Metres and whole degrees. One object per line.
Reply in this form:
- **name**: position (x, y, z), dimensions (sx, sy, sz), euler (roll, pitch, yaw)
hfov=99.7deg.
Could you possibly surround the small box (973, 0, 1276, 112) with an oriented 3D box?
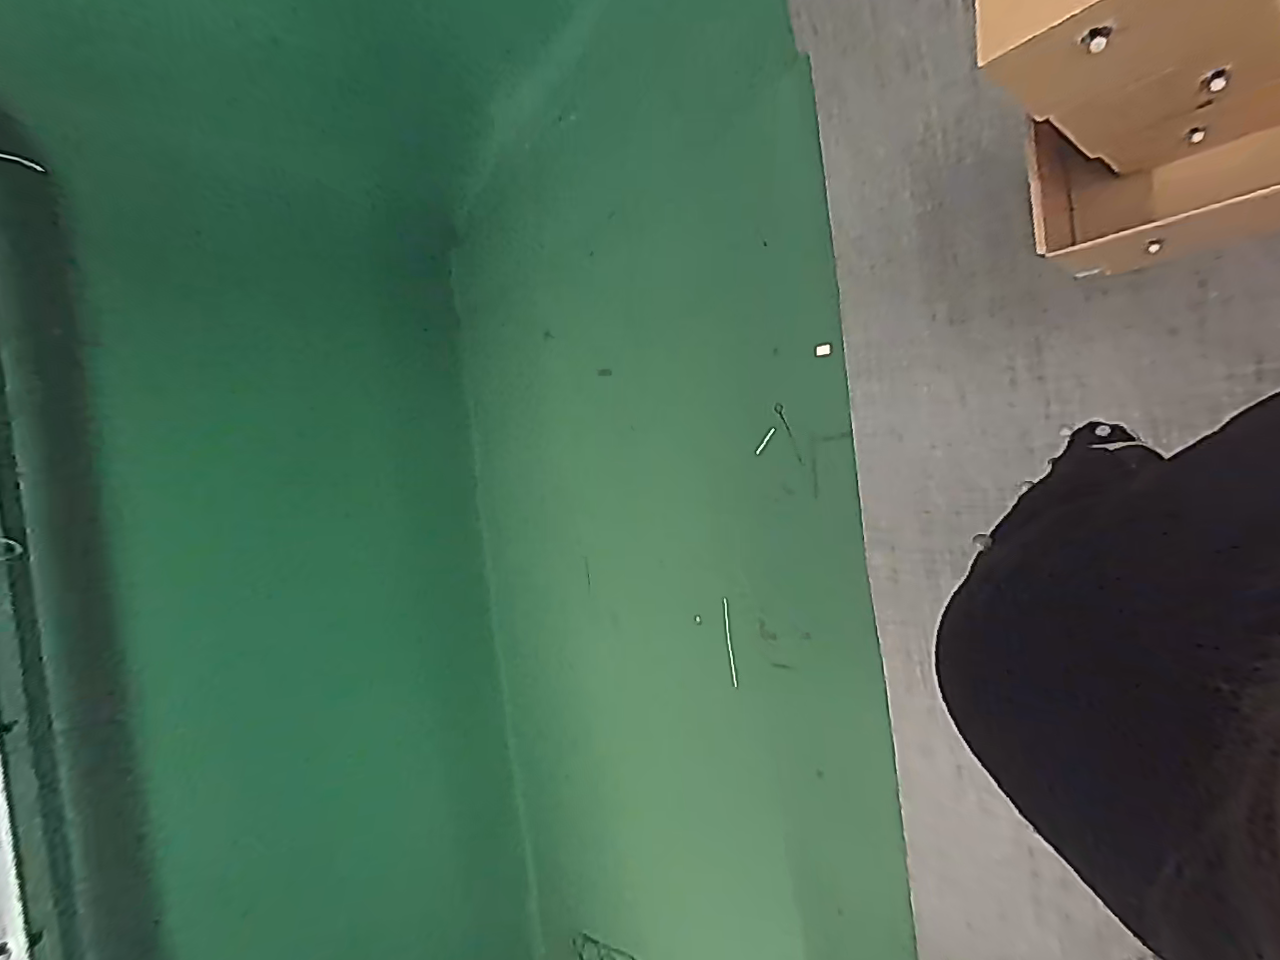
- **small box**: position (0.420, -0.465, 0.472), dimensions (0.179, 0.176, 0.168), euler (2, 99, 52)

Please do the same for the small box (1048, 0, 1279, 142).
- **small box**: position (0.551, -0.490, 0.569), dimensions (0.168, 0.176, 0.179), euler (-3, 94, 53)
